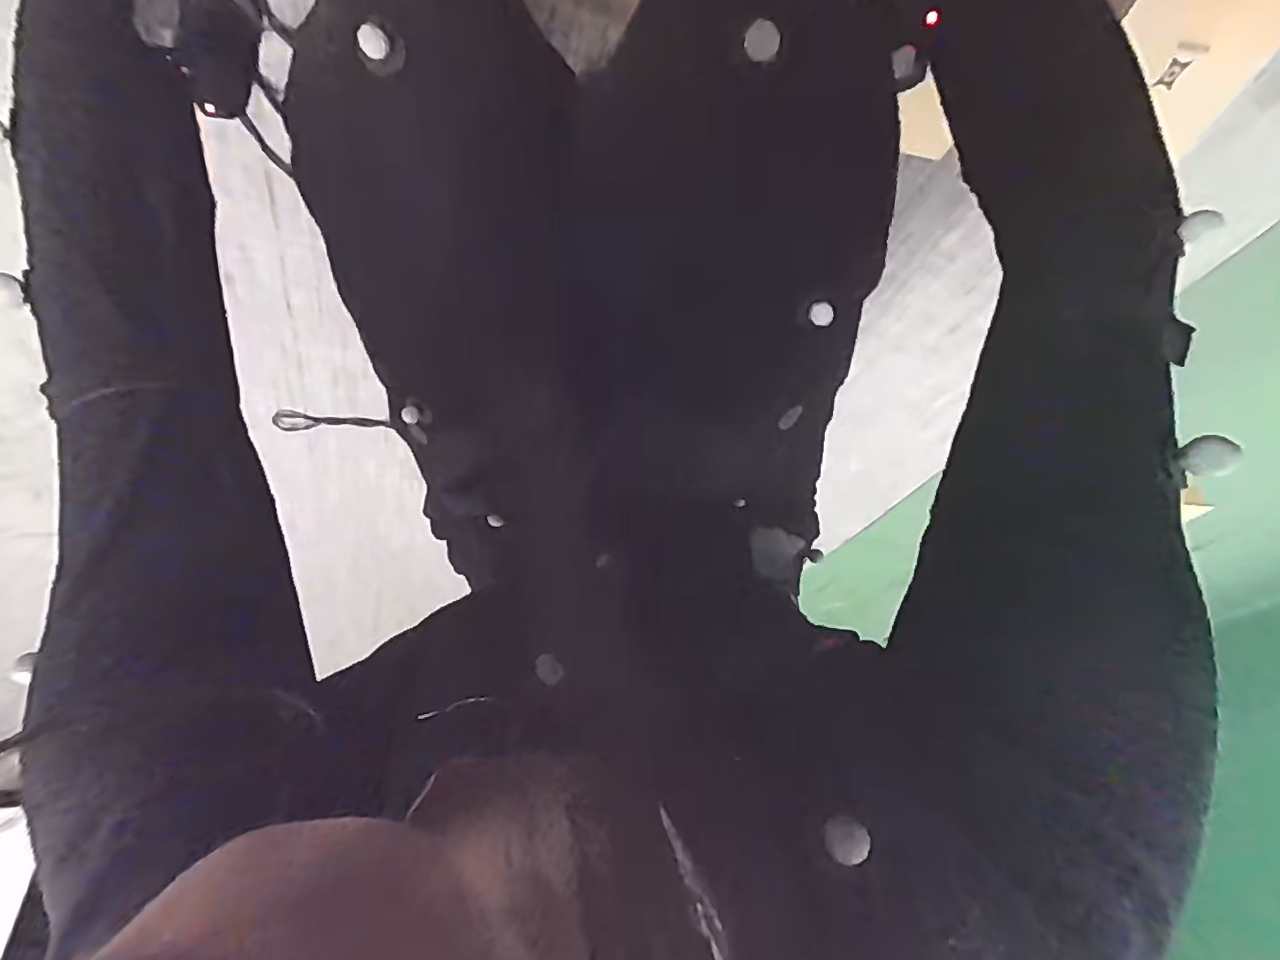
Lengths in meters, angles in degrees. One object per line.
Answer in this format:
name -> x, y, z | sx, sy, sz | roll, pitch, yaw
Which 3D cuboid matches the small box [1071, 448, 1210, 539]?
small box -> 1.279, 0.035, 1.396 | 0.179, 0.176, 0.168 | 5, 144, -21
